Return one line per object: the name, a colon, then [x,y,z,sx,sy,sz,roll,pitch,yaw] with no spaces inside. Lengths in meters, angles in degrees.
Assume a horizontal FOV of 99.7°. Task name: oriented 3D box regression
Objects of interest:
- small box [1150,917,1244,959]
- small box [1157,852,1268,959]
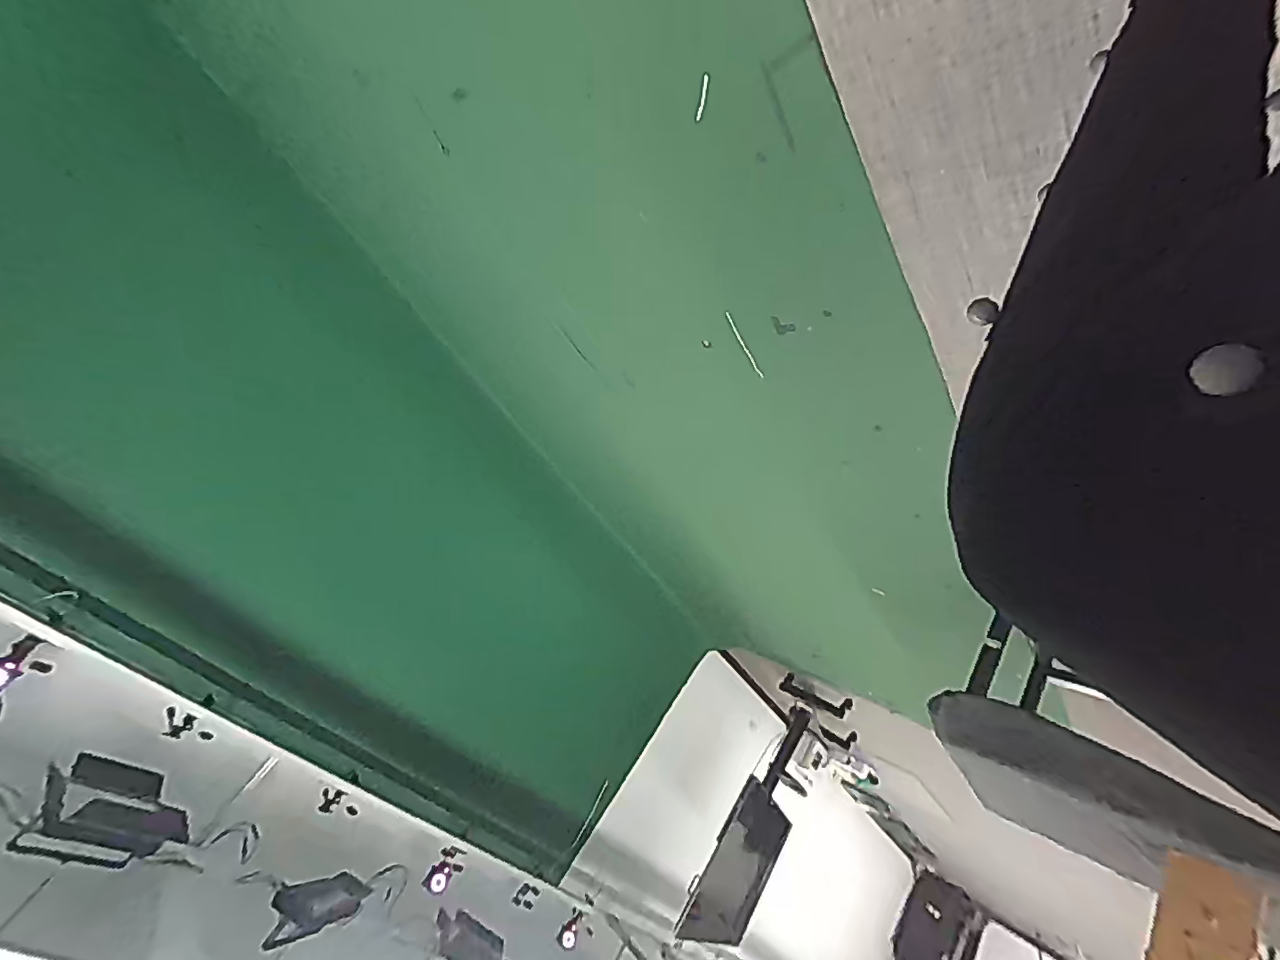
small box: [1.366,1.220,1.317,0.168,0.176,0.179,4,139,53]
small box: [1.459,1.099,1.376,0.179,0.176,0.168,8,142,53]
